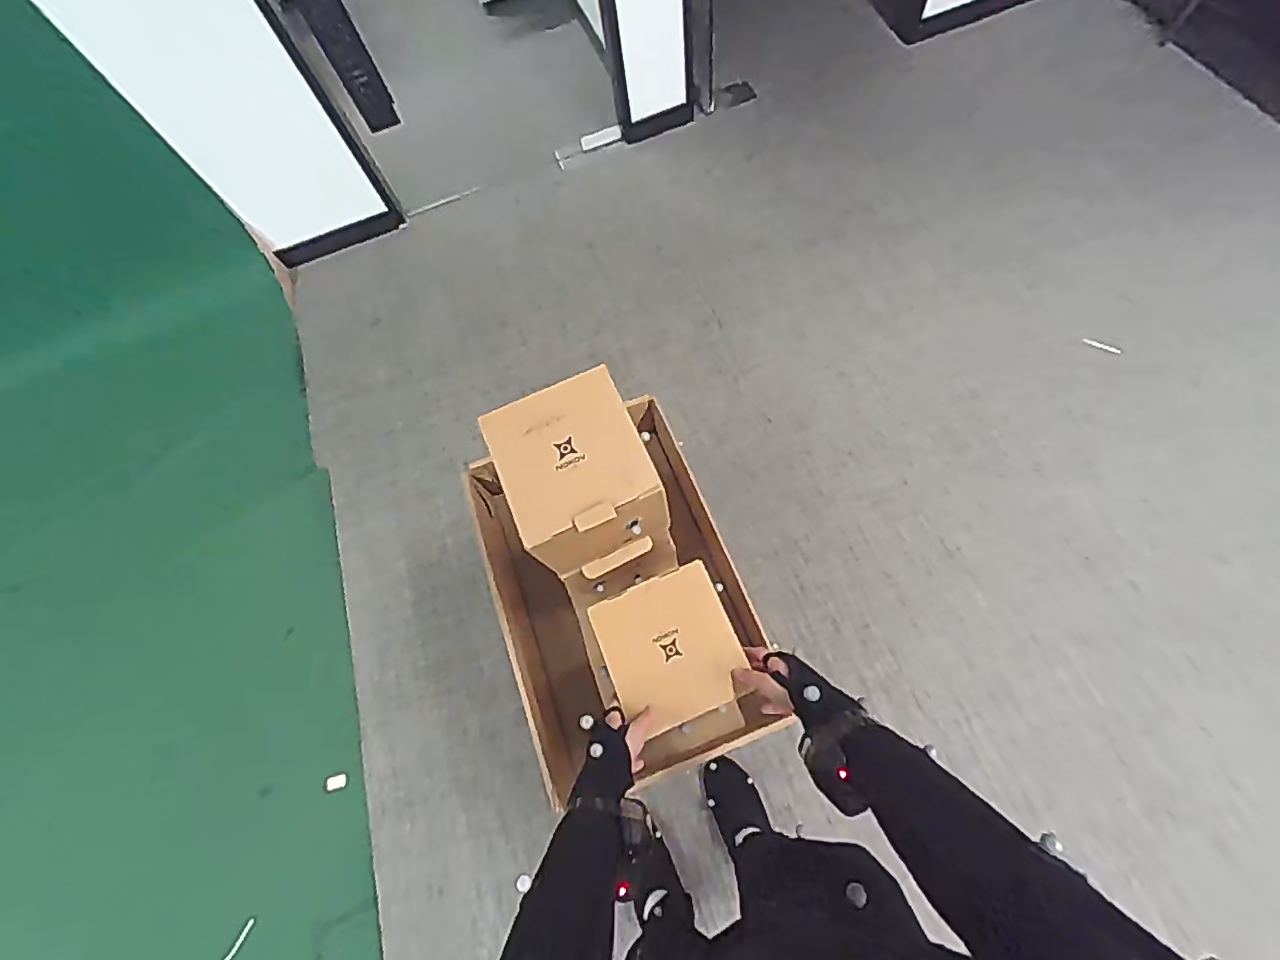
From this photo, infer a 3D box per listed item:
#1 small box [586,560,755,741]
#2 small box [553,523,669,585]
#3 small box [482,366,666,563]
[{"bbox_3d":[0.044,0.238,0.748,0.168,0.176,0.179,-23,65,-3],"label":"small box"},{"bbox_3d":[-0.064,0.051,0.839,0.168,0.176,0.179,-26,69,-4],"label":"small box"},{"bbox_3d":[-0.073,-0.006,0.687,0.168,0.176,0.179,-23,70,-3],"label":"small box"}]
